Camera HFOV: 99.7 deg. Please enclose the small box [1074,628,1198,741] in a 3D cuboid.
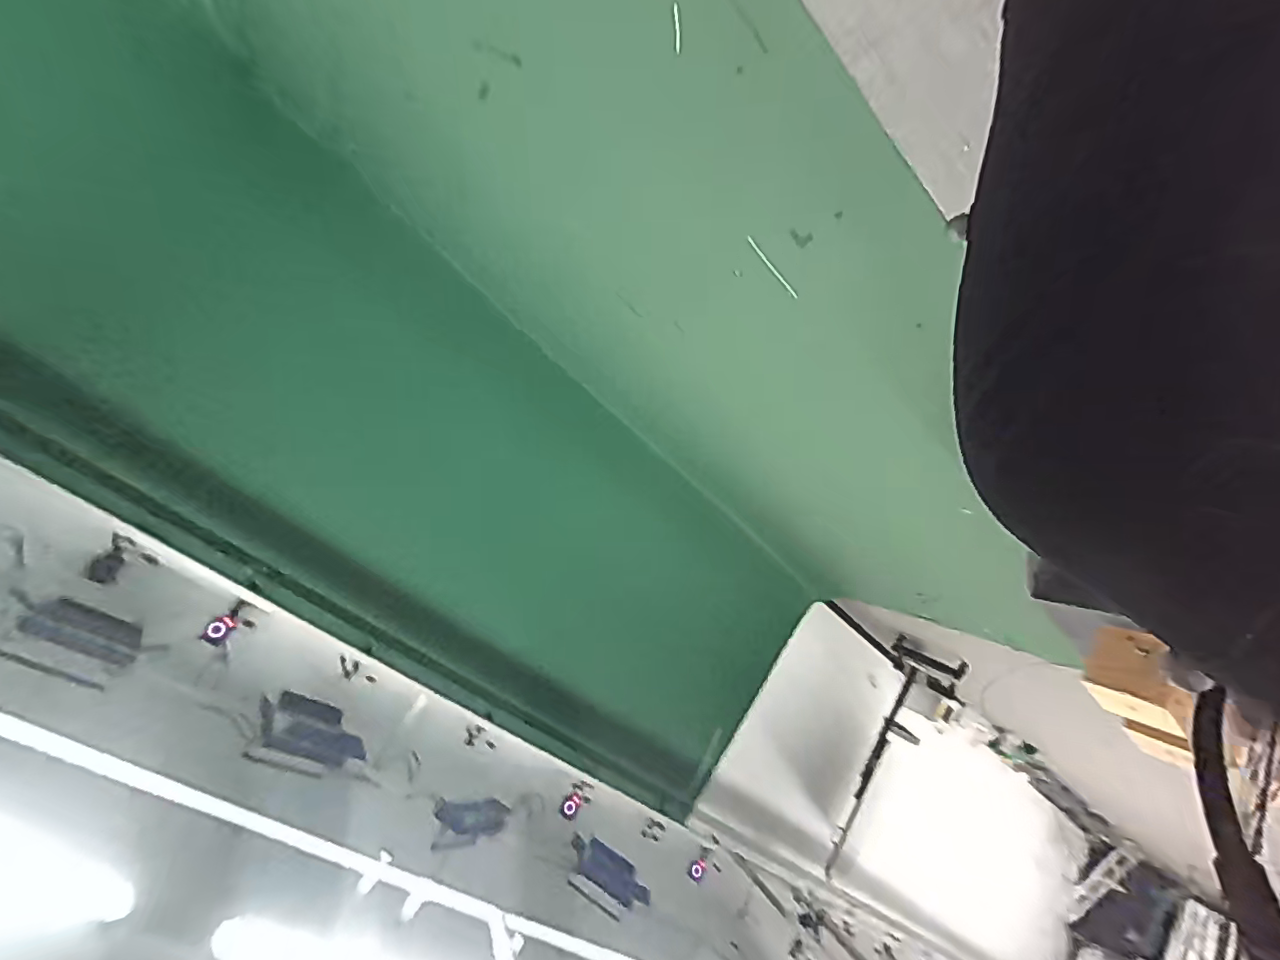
[{"bbox_3d":[1.217,0.494,1.323,0.179,0.176,0.168,41,164,-24],"label":"small box"}]
